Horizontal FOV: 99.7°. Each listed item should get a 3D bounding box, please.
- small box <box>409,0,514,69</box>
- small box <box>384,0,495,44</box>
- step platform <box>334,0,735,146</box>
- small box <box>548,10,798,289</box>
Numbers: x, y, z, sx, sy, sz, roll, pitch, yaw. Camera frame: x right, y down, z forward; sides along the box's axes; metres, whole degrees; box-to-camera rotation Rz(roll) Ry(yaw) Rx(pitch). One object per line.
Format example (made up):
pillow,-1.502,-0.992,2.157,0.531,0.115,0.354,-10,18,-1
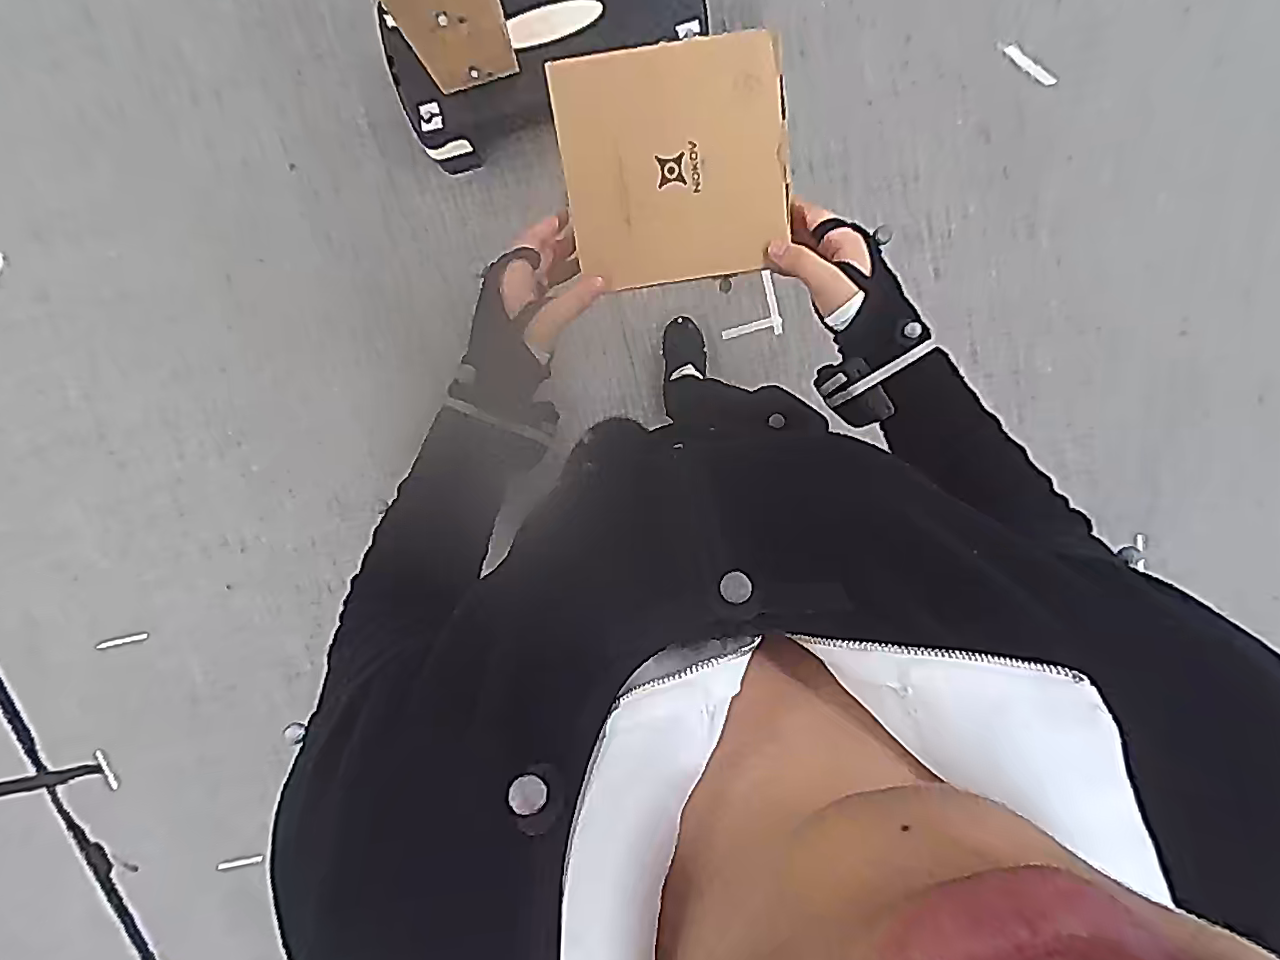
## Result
small box,-0.348,-0.881,1.018,0.168,0.176,0.179,-15,101,3
small box,-0.350,-0.853,0.856,0.168,0.176,0.179,-16,102,3
step platform,-0.177,-0.870,0.985,0.684,0.204,0.286,-15,101,2
small box,0.029,-0.273,0.489,0.179,0.176,0.168,-9,108,3
